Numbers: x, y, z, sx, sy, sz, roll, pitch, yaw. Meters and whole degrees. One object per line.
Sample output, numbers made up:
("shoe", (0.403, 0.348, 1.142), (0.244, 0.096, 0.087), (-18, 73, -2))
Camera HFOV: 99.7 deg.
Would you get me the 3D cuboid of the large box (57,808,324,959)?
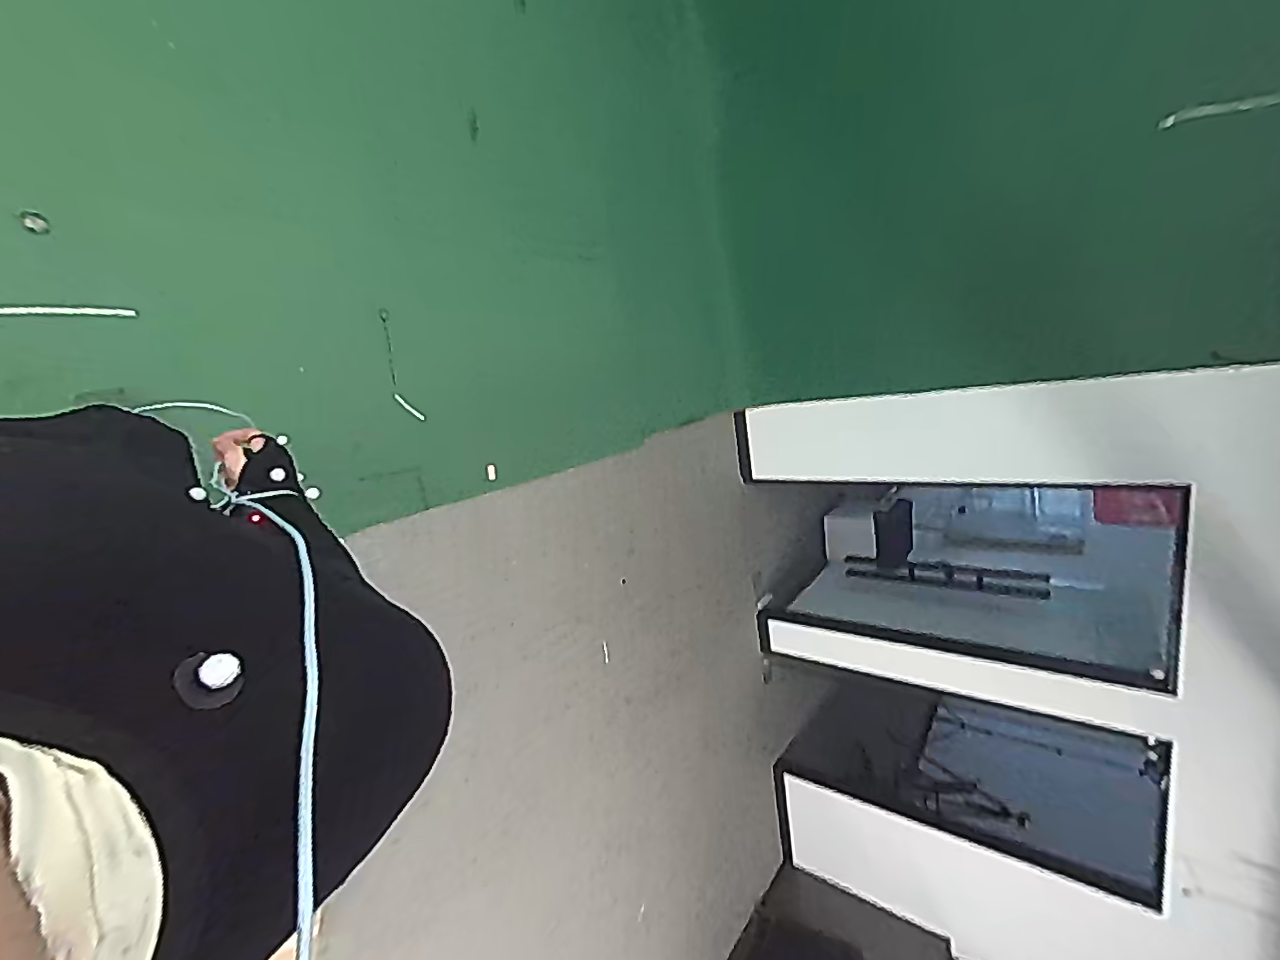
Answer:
("large box", (-1.006, 1.015, 1.213), (0.408, 0.320, 0.320), (12, 82, -51))
